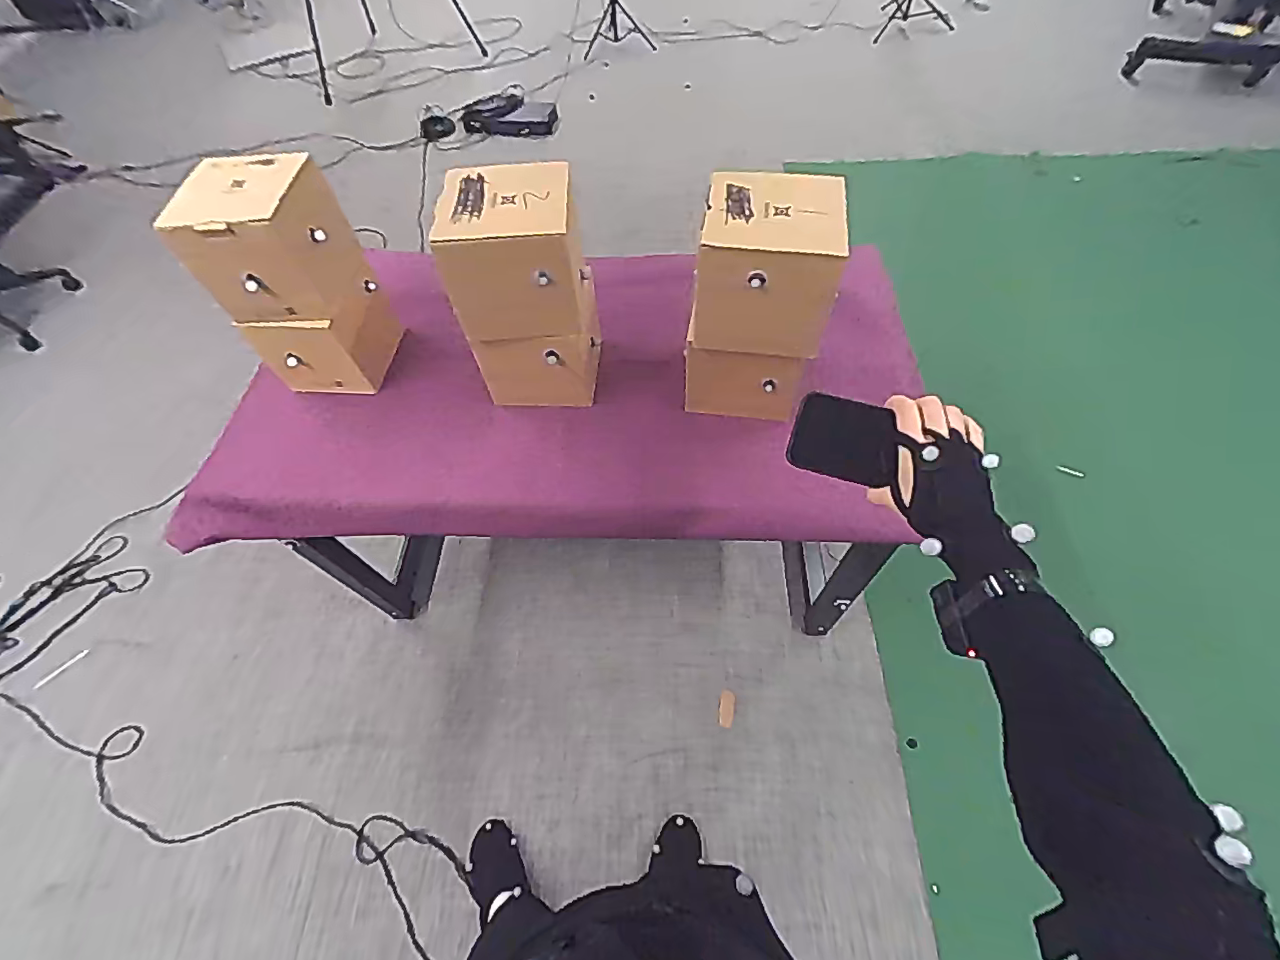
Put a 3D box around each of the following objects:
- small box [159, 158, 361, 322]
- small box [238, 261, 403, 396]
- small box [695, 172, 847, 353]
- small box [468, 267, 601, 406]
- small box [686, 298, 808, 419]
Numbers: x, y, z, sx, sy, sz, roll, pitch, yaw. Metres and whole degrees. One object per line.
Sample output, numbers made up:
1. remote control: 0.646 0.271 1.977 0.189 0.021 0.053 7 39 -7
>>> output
1. small box: -0.563 -0.360 0.833 0.168 0.176 0.179 -2 58 2
2. small box: -0.553 -0.266 0.967 0.168 0.176 0.179 2 58 5
3. small box: 0.170 -0.292 0.738 0.179 0.176 0.168 7 58 8
4. small box: -0.165 -0.239 0.921 0.179 0.176 0.168 1 58 5
5. small box: 0.173 -0.218 0.885 0.179 0.176 0.168 6 58 9
